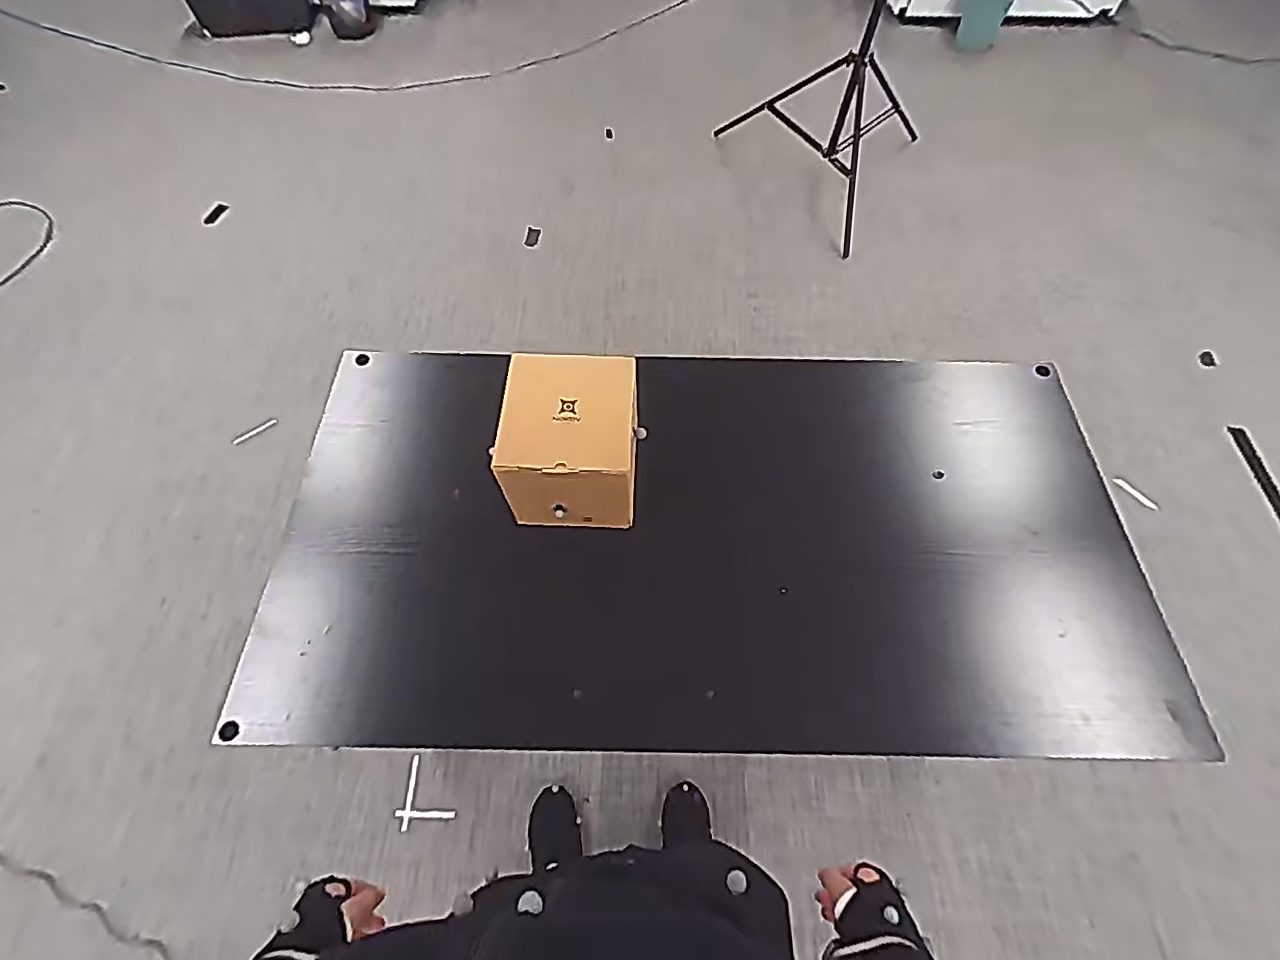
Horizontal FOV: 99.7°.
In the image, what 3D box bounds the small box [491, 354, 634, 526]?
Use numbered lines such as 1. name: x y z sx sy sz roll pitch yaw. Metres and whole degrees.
1. small box: -0.095 -0.052 0.751 0.168 0.176 0.179 2 63 1
